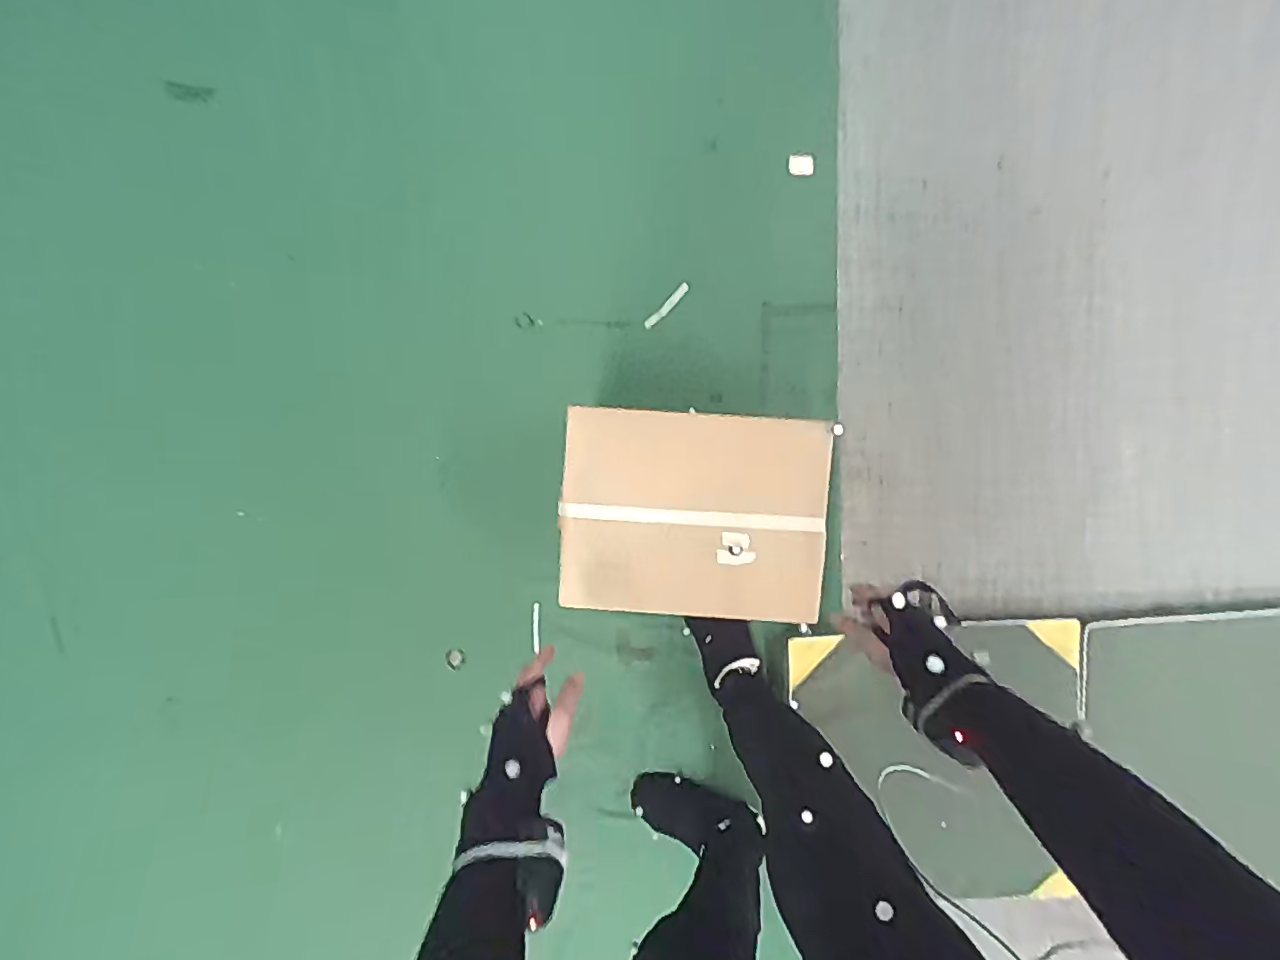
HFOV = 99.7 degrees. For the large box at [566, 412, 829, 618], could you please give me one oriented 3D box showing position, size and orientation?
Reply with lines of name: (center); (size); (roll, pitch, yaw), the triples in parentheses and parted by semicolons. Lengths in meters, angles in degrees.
large box: (0.085, 0.048, 0.985); (0.408, 0.320, 0.320); (3, 95, 0)
